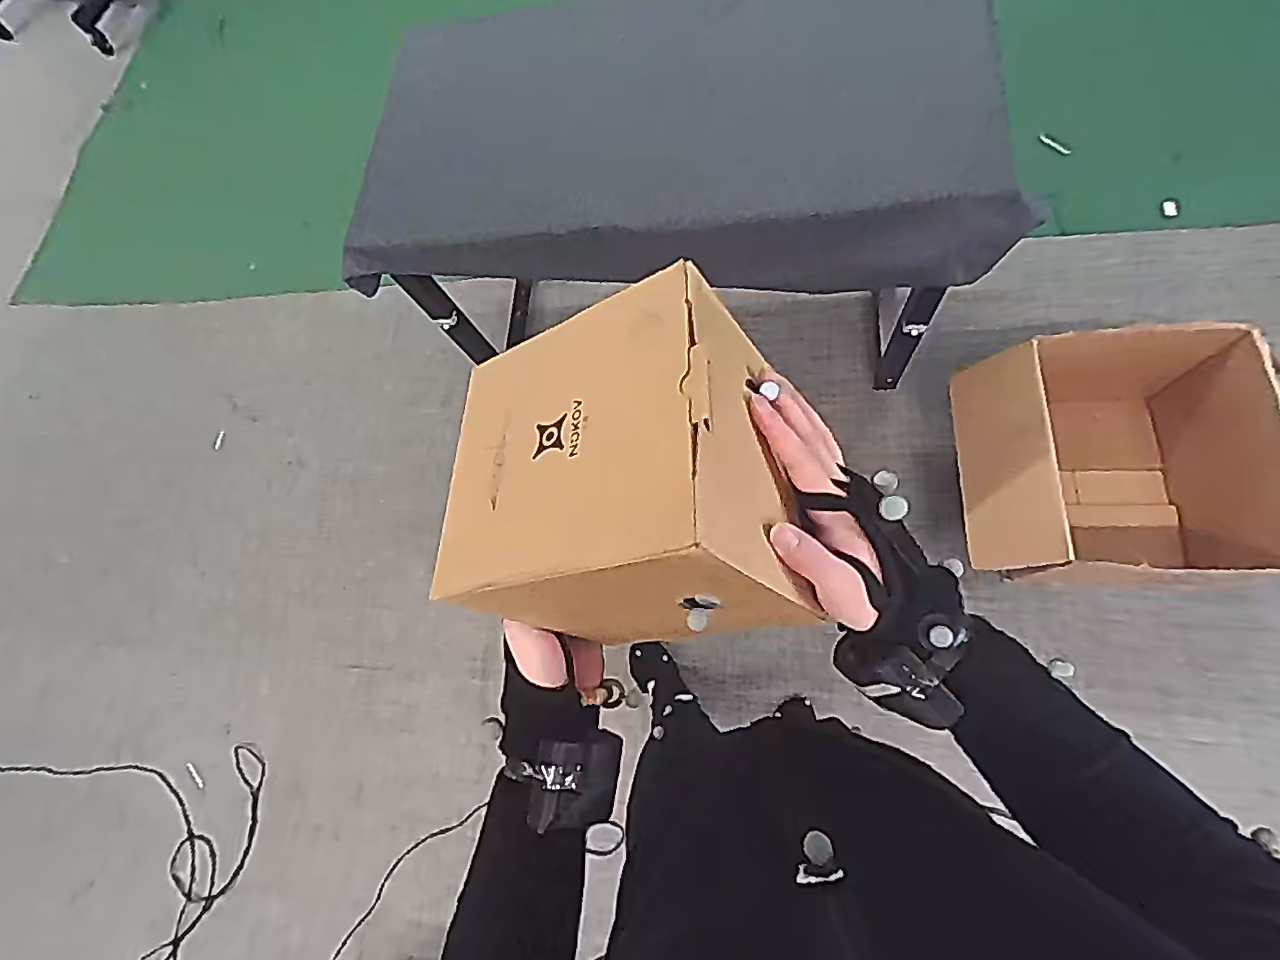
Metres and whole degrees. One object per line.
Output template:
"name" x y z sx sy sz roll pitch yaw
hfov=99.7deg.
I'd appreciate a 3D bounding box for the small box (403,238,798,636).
"small box" -0.011 -0.003 0.344 0.179 0.176 0.168 -17 58 32
